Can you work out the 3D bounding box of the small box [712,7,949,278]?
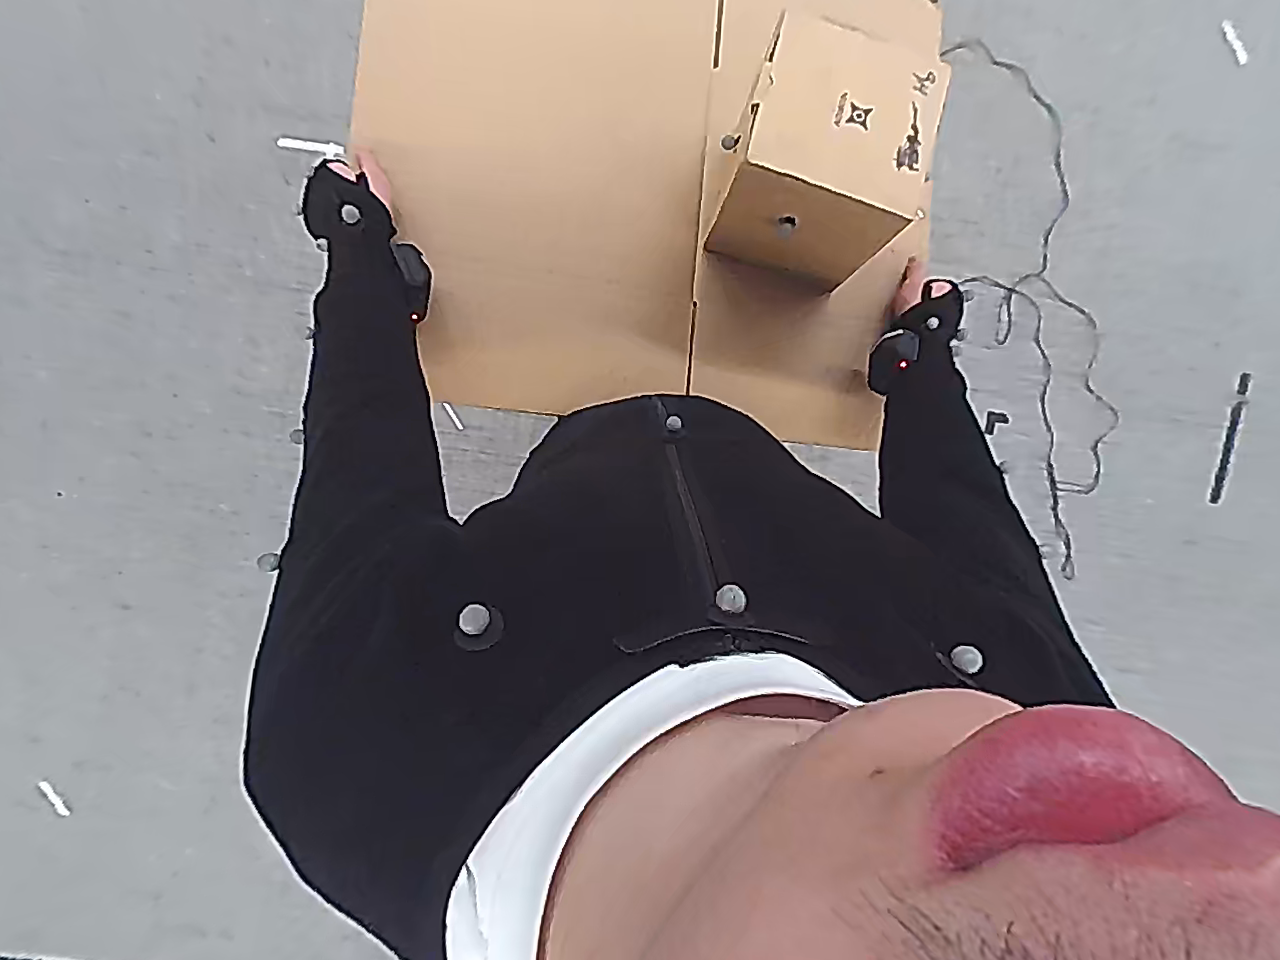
[{"bbox_3d":[0.192,-0.350,0.597,0.179,0.176,0.168,16,86,-4],"label":"small box"}]
